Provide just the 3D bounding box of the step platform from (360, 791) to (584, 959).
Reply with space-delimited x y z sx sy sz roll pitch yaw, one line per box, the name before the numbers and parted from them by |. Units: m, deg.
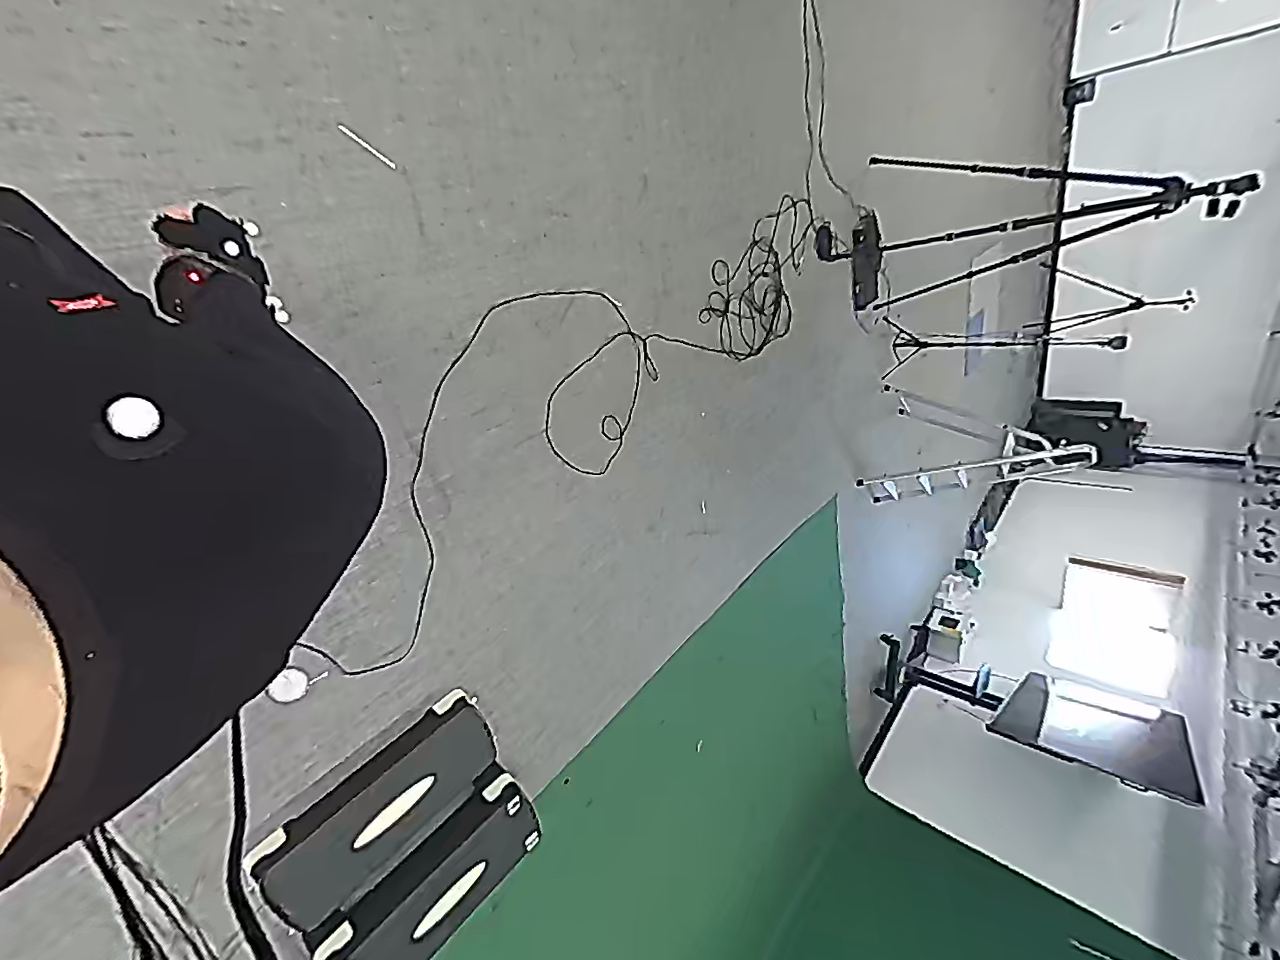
step platform | -0.490 1.296 1.604 0.684 0.204 0.286 -35 123 -38
